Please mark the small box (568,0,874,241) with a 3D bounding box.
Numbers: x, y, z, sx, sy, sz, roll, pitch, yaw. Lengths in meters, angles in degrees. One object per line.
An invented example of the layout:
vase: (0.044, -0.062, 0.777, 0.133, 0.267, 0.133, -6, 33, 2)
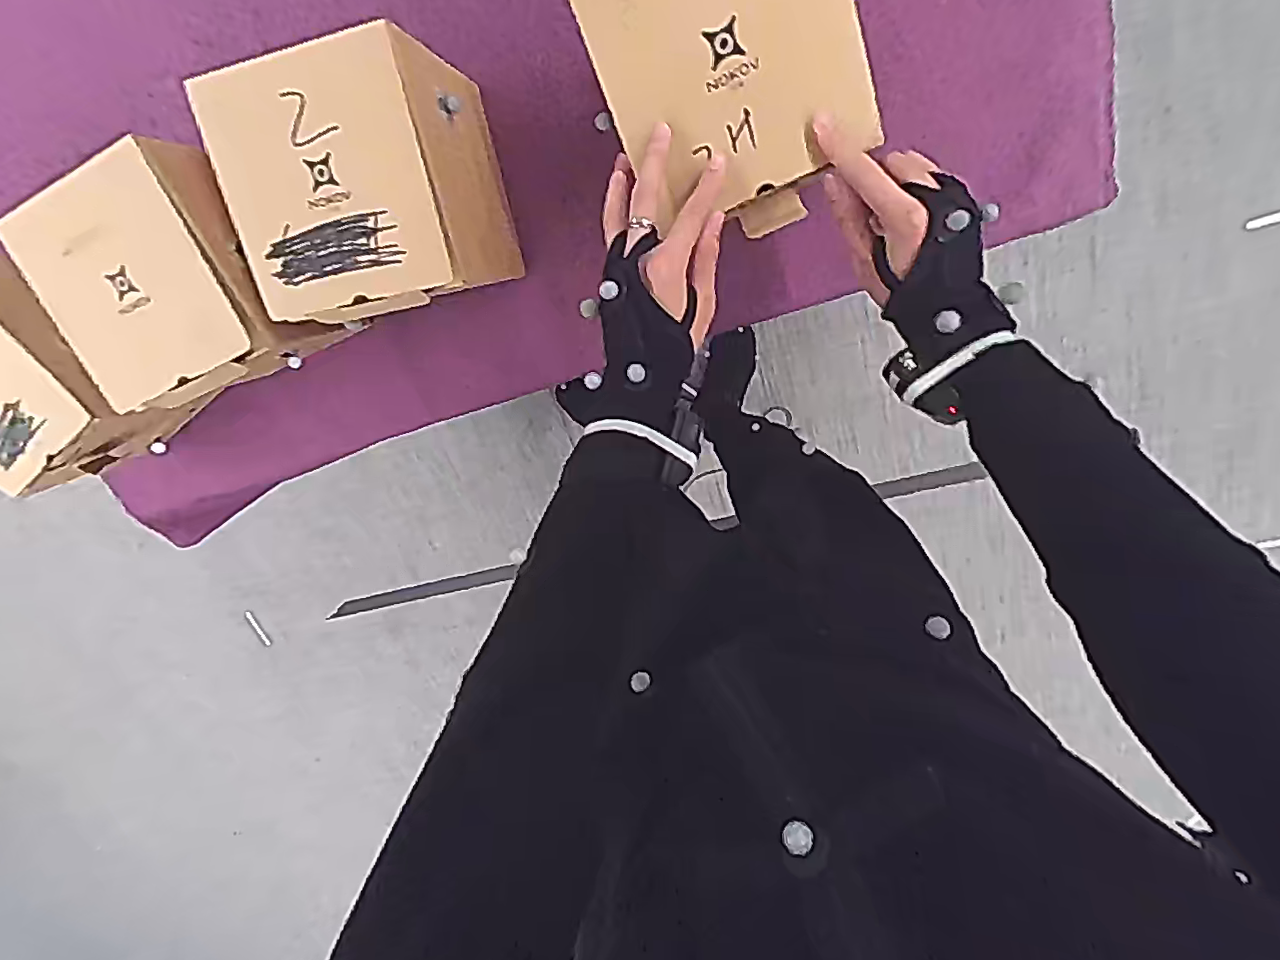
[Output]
small box: (0.060, -0.306, 0.428, 0.168, 0.176, 0.179, -19, 111, 14)
